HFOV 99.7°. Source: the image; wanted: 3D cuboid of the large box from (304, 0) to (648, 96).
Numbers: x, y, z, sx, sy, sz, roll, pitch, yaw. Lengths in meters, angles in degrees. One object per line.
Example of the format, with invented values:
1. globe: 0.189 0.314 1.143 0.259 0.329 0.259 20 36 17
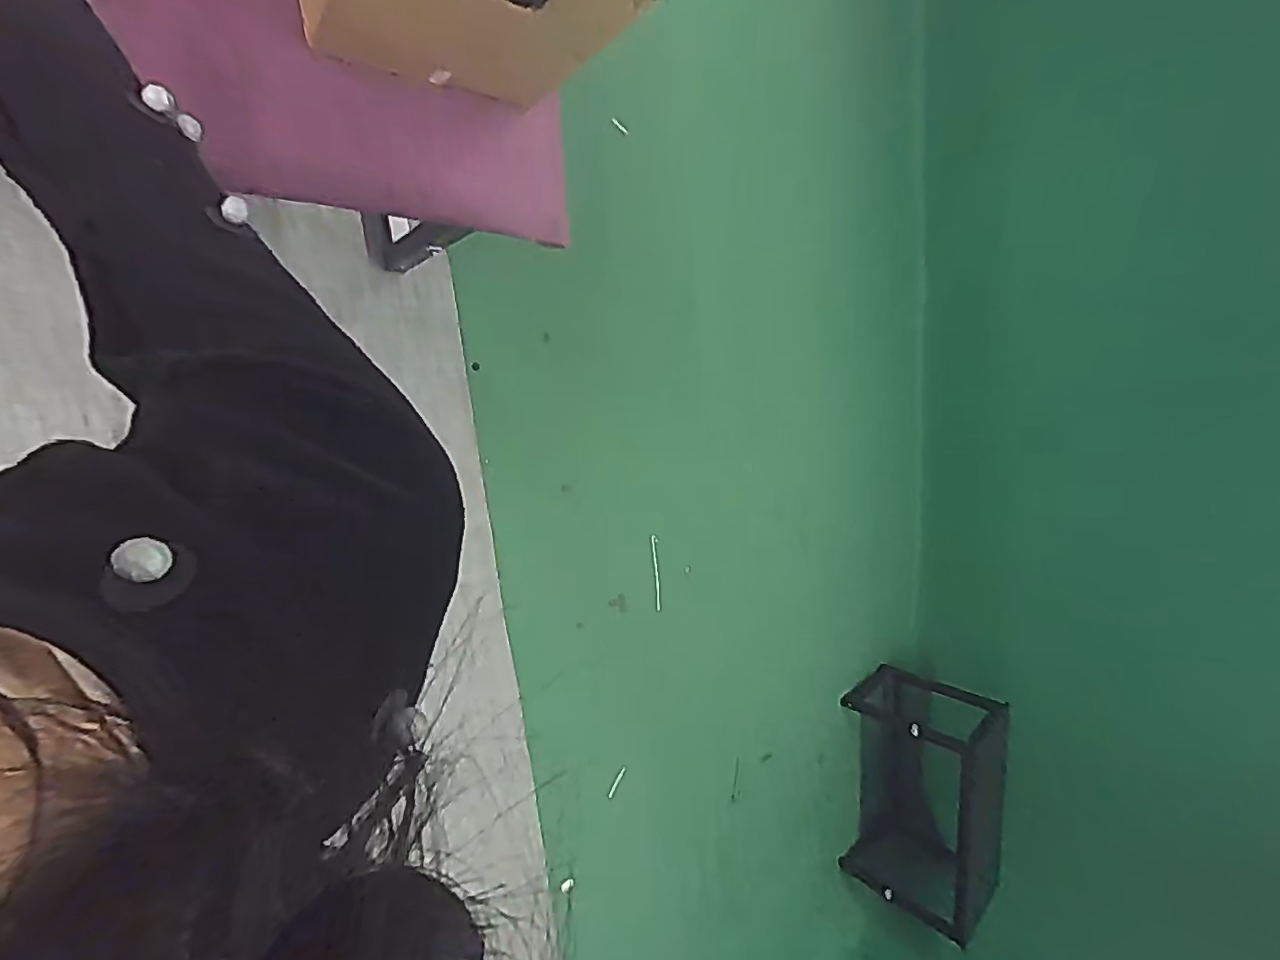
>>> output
1. large box: -0.201 -0.737 0.588 0.320 0.320 0.408 -14 106 -38
